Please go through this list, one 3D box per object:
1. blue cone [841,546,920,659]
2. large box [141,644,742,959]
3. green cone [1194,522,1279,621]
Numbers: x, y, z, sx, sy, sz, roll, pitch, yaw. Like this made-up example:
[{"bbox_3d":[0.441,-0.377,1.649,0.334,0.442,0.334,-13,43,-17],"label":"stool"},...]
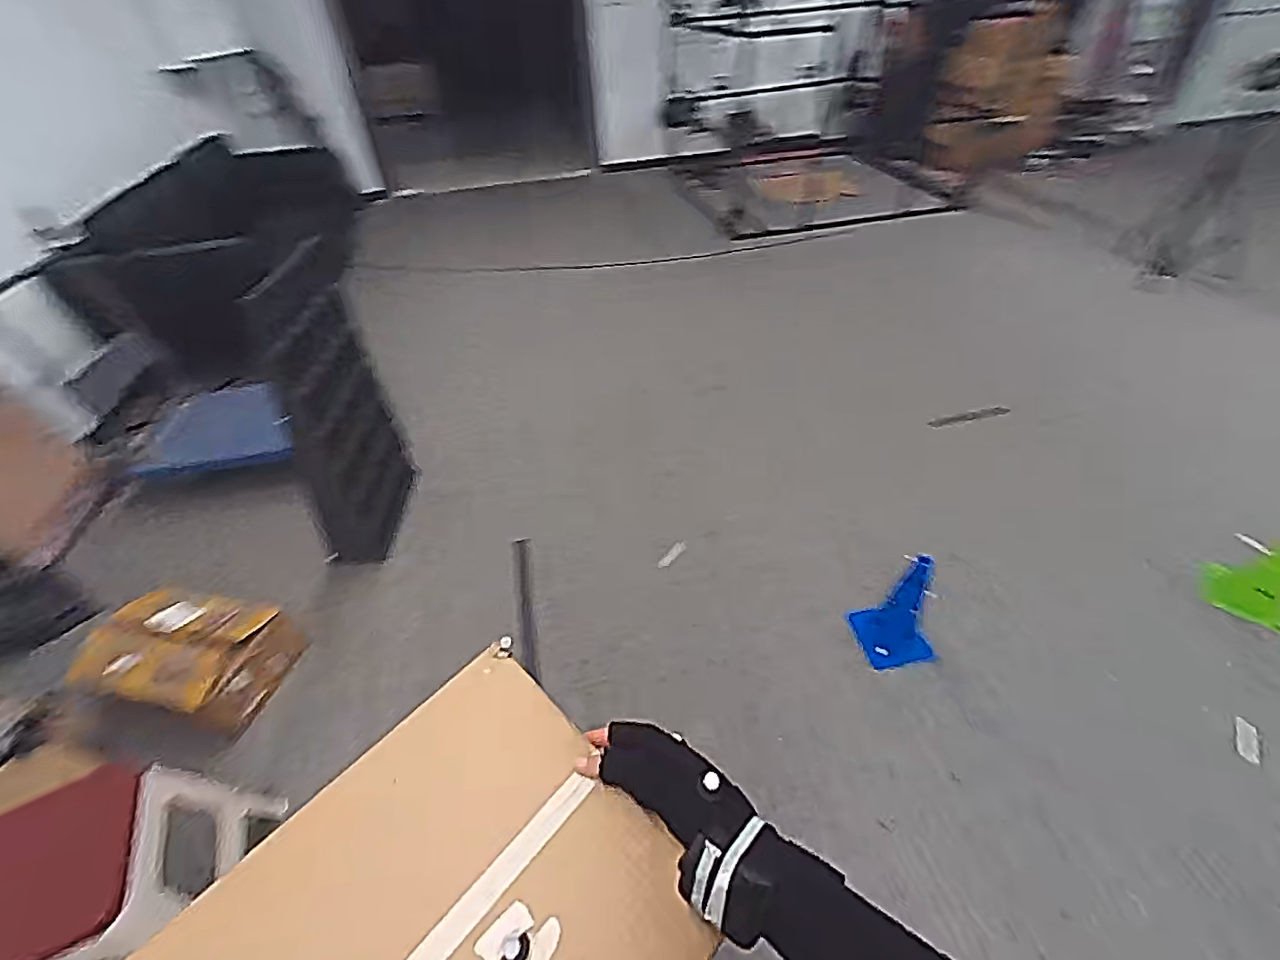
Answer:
[{"bbox_3d":[0.730,0.335,1.551,0.193,0.380,0.192,-9,42,-5],"label":"blue cone"},{"bbox_3d":[-0.167,0.454,0.519,0.320,0.320,0.408,39,59,23],"label":"large box"},{"bbox_3d":[1.854,0.203,1.577,0.202,0.368,0.200,26,50,31],"label":"green cone"}]
